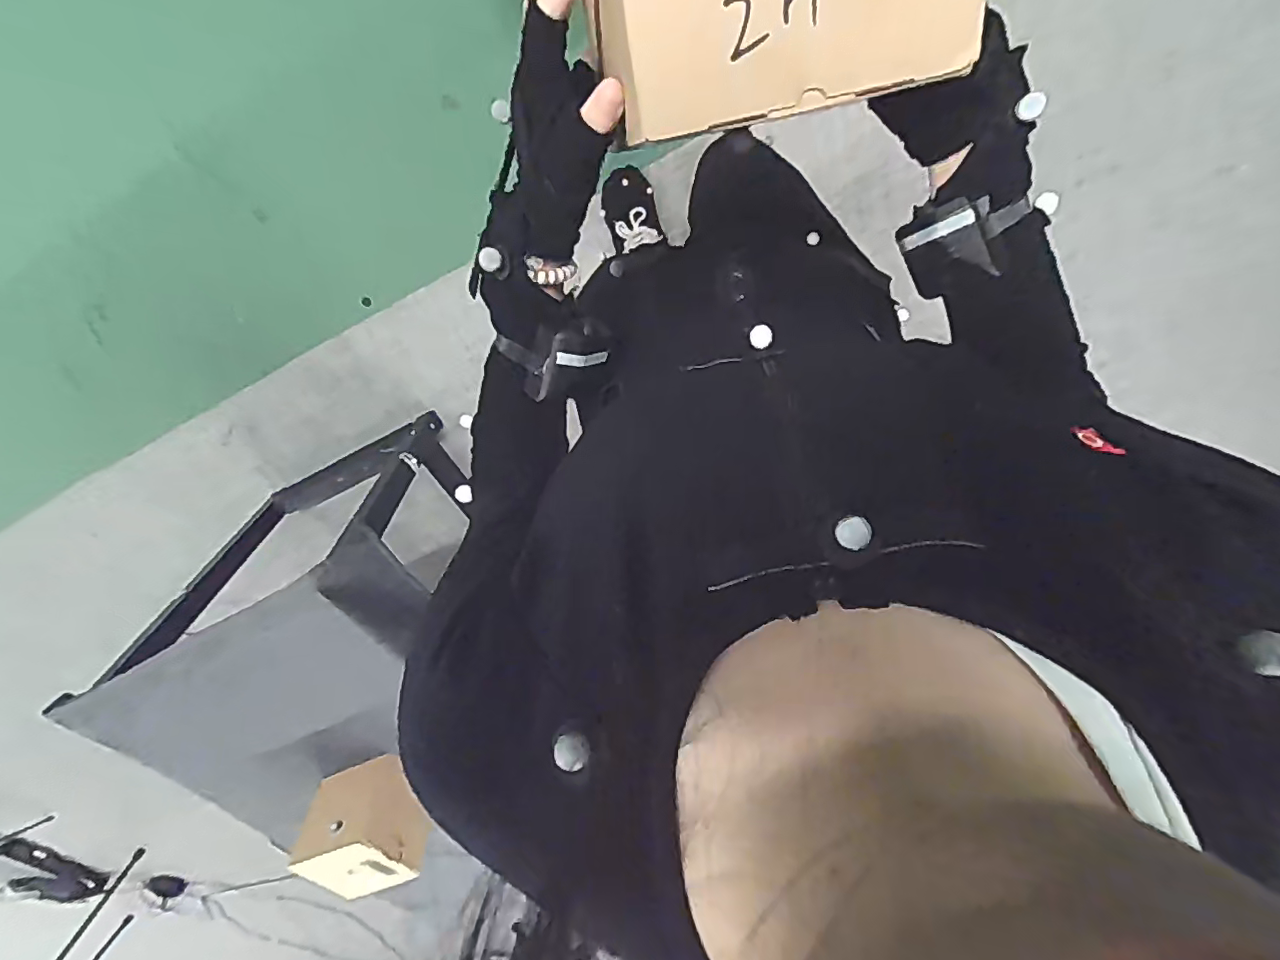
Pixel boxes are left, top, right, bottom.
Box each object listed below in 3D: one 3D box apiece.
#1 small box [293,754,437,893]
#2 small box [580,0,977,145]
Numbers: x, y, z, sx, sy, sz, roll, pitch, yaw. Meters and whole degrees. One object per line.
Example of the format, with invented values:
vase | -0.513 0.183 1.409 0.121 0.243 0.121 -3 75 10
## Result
small box | -0.532 0.682 1.082 0.179 0.176 0.168 -24 120 12
small box | 0.050 -0.291 0.279 0.168 0.176 0.179 -13 121 -1
